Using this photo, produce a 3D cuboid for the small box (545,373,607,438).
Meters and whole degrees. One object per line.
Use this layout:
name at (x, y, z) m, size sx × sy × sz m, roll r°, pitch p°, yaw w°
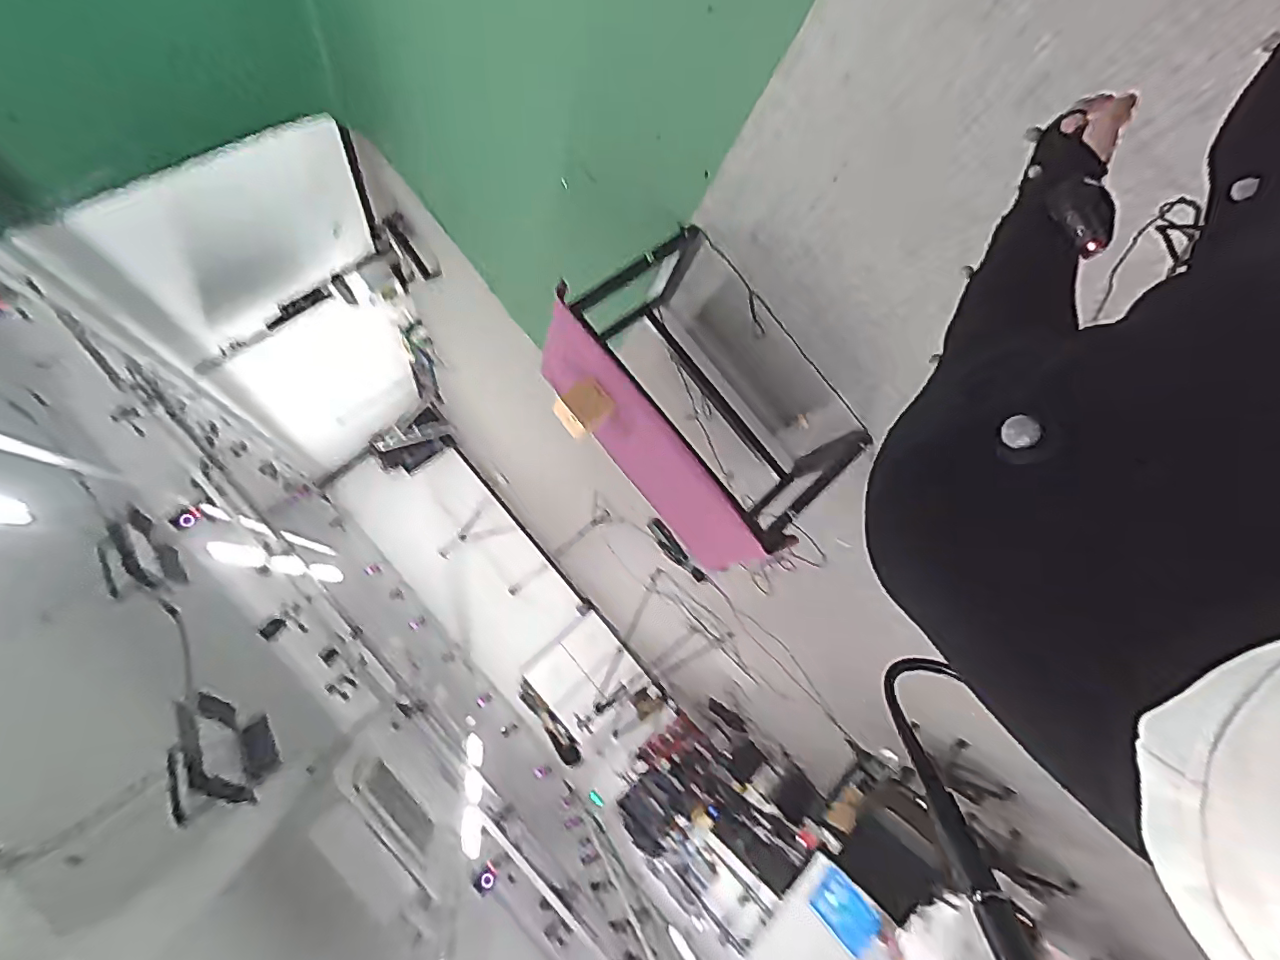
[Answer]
small box at (-0.256, -0.299, 2.168) m, size 0.168 × 0.176 × 0.179 m, roll 50°, pitch 160°, yaw -3°
